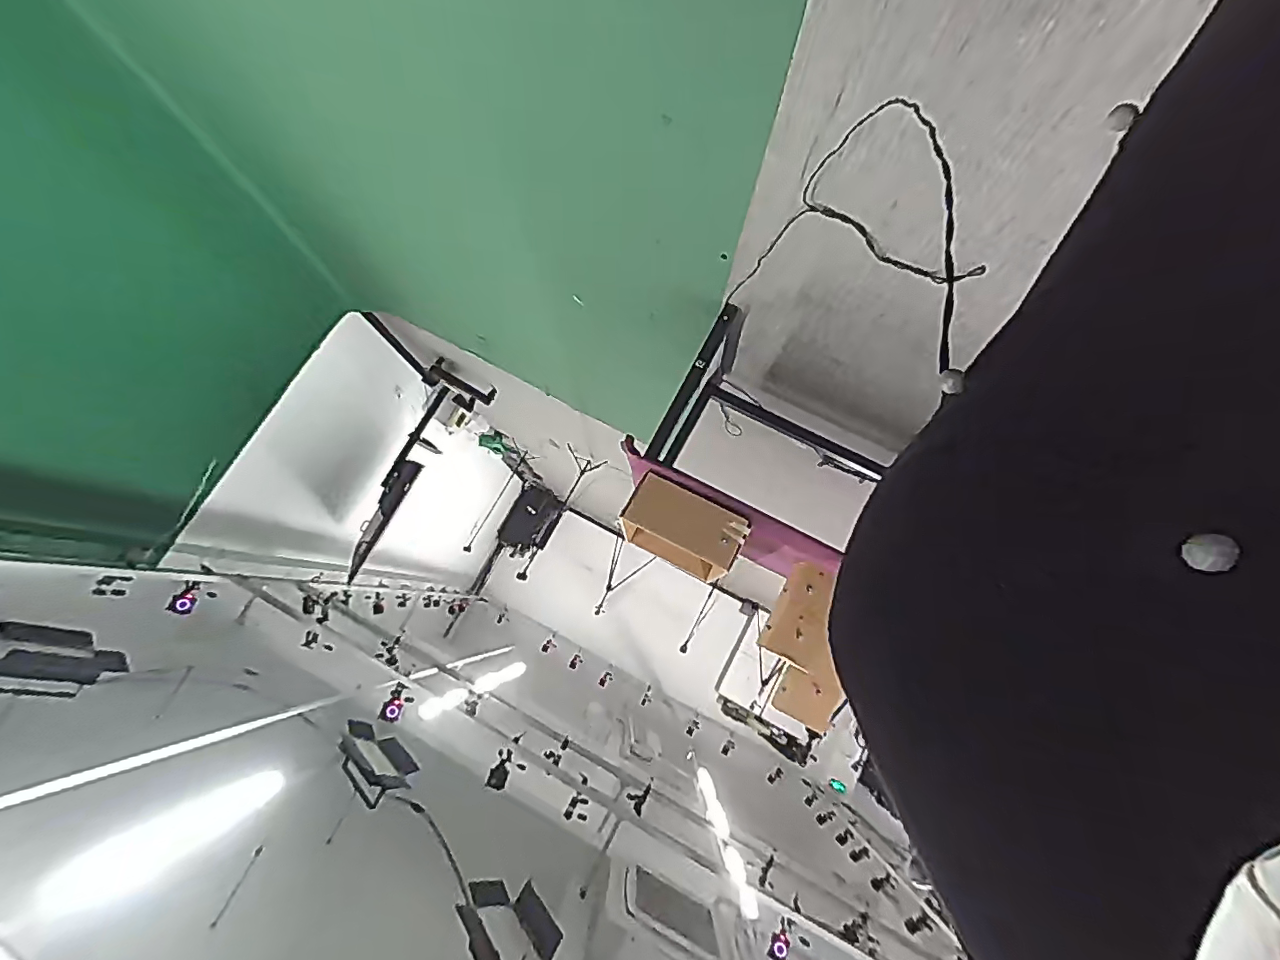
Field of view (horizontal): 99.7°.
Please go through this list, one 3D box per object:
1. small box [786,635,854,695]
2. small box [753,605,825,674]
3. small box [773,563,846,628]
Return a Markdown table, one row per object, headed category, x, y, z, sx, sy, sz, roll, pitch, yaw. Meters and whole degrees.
| category | x | y | z | sx | sy | sz | roll | pitch | yaw |
| --- | --- | --- | --- | --- | --- | --- | --- | --- | --- |
| small box | 0.681 | 0.682 | 2.044 | 0.168 | 0.176 | 0.179 | 28 | 168 | 4 |
| small box | 0.508 | 0.536 | 1.839 | 0.168 | 0.176 | 0.179 | 29 | 168 | 7 |
| small box | 0.587 | 0.395 | 1.868 | 0.168 | 0.176 | 0.179 | 28 | 169 | 7 |
